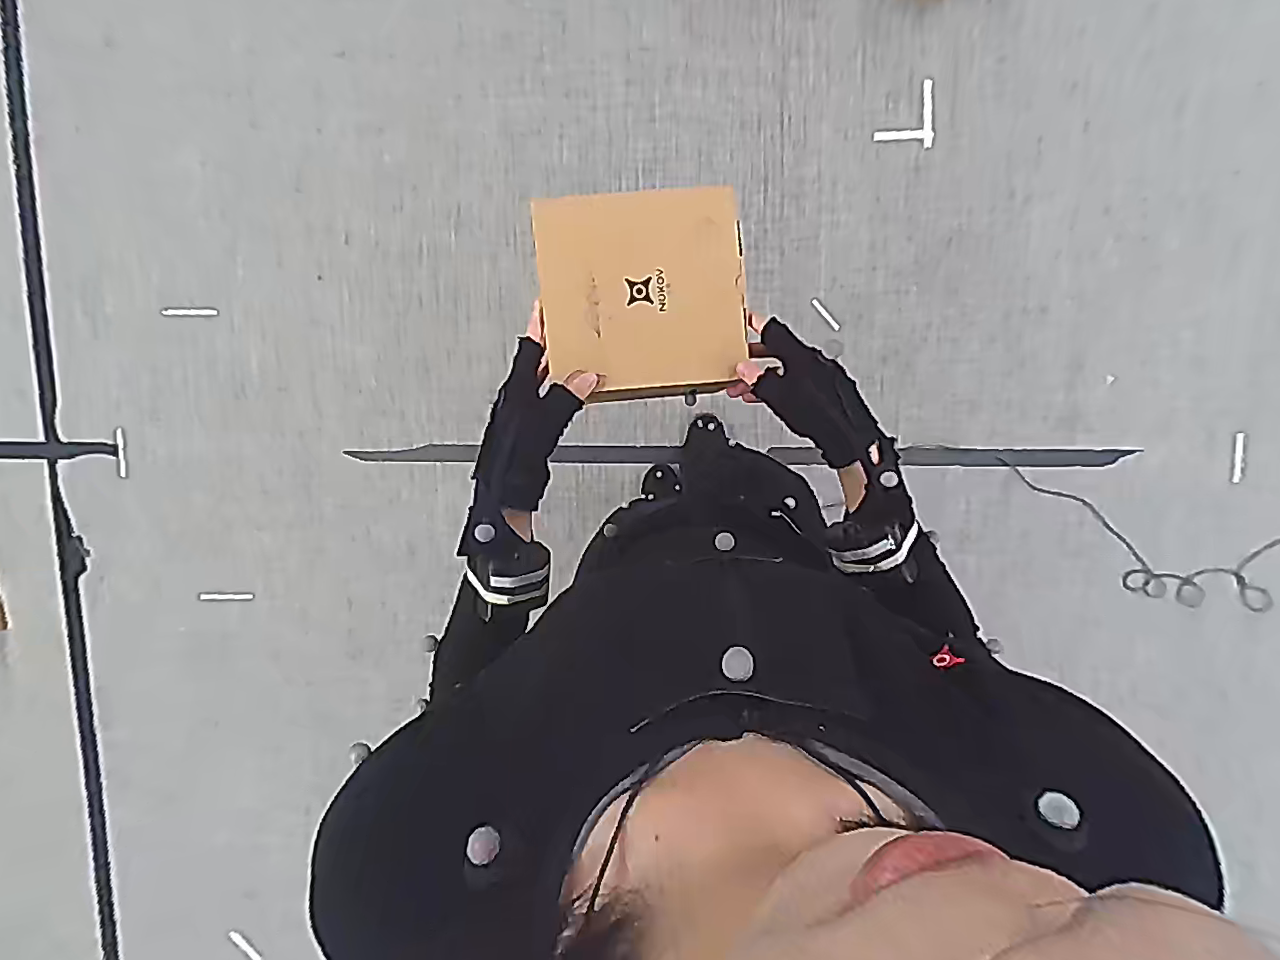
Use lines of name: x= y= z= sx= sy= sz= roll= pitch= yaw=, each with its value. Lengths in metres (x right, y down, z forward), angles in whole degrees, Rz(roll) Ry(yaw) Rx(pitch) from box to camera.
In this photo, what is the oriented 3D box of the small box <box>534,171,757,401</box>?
small box: x=0.002 y=-0.172 z=0.527 sx=0.179 sy=0.176 sz=0.168 roll=-6 pitch=93 yaw=-2
